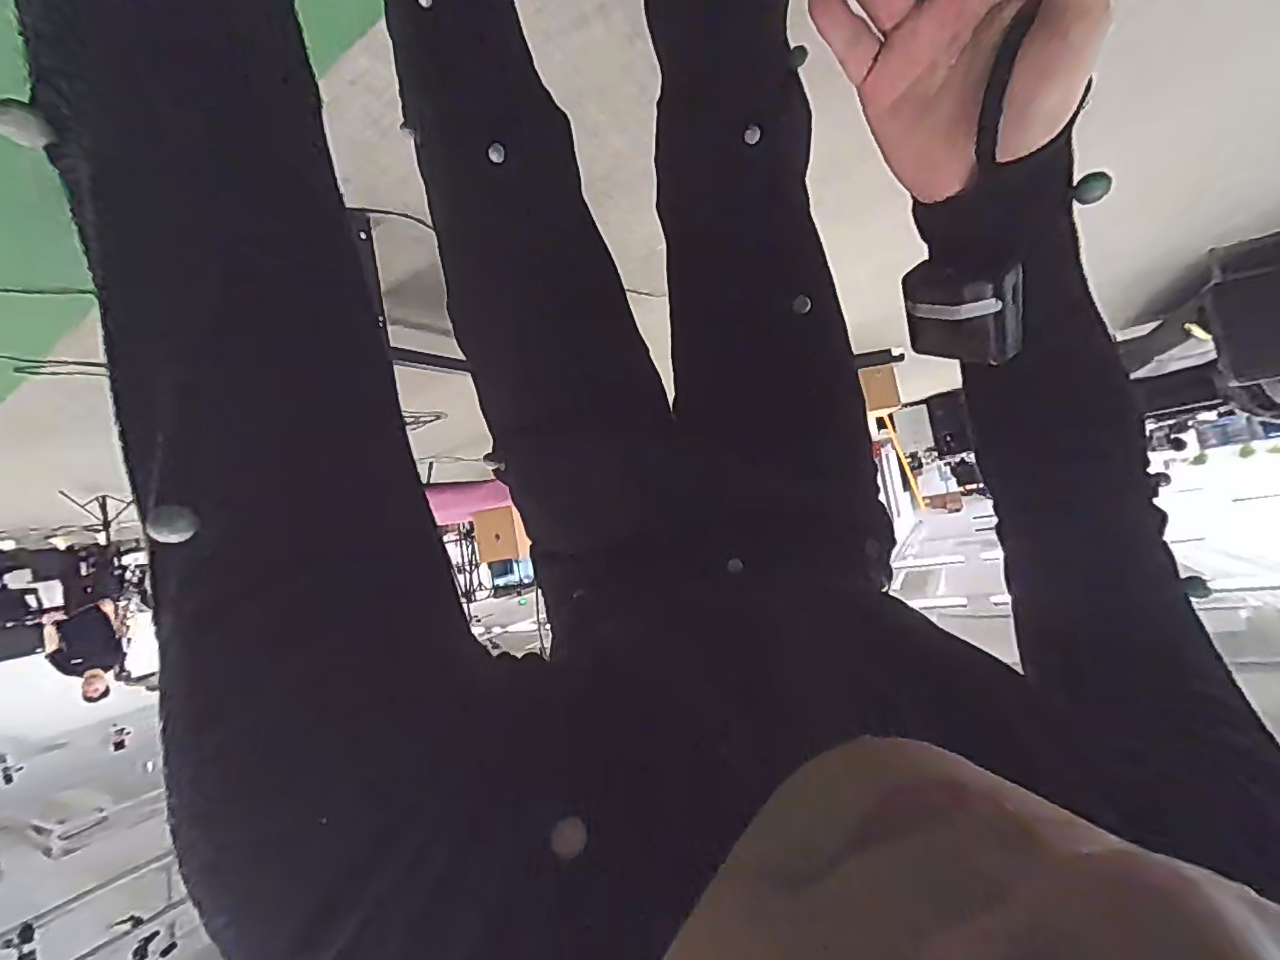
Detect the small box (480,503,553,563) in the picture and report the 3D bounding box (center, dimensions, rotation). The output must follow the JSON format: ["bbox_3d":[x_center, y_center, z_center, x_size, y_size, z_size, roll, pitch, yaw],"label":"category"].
[{"bbox_3d":[-0.413,0.172,1.795,0.179,0.176,0.168,-13,175,28],"label":"small box"}]
